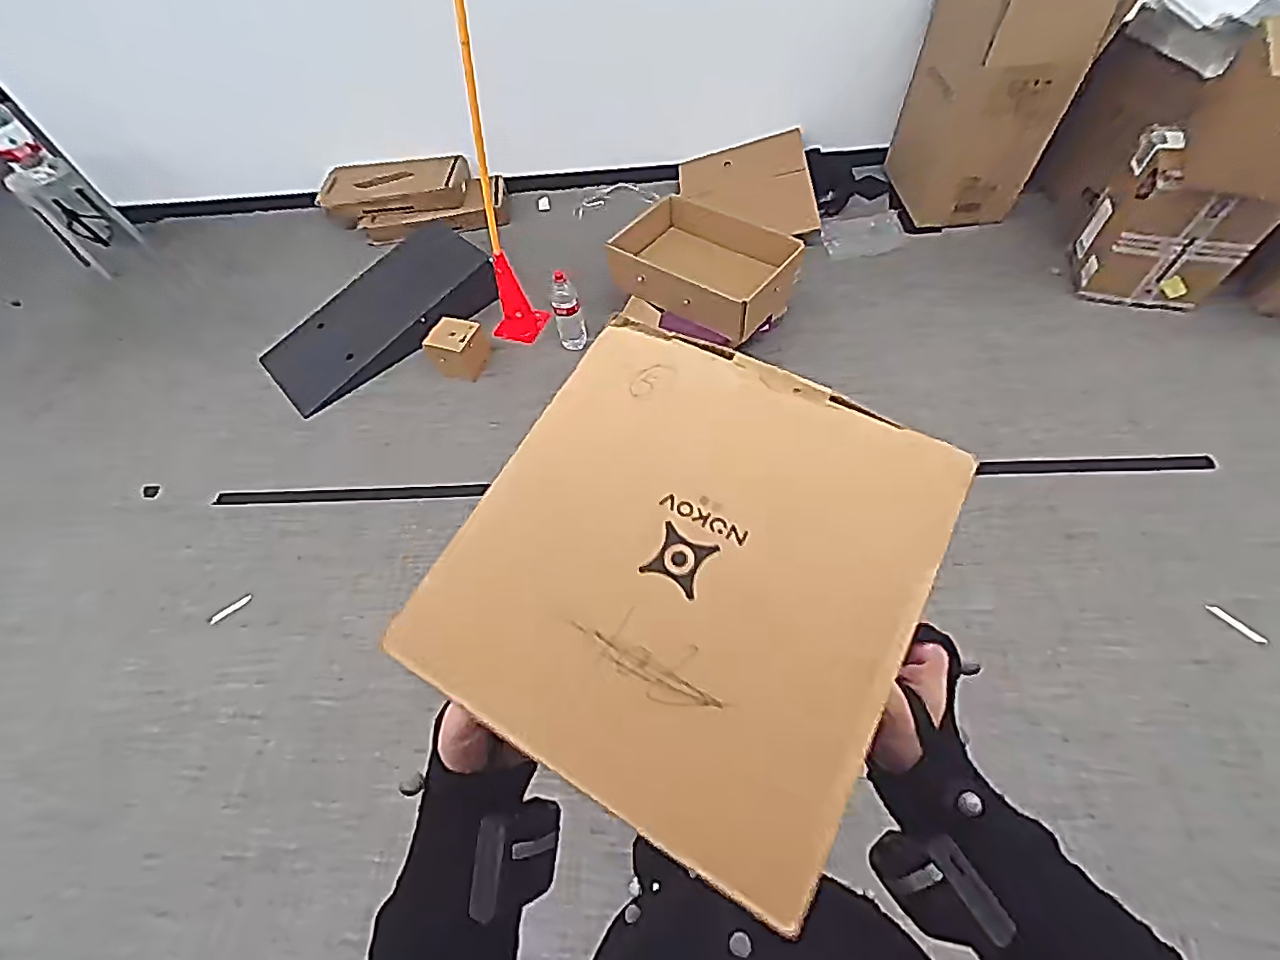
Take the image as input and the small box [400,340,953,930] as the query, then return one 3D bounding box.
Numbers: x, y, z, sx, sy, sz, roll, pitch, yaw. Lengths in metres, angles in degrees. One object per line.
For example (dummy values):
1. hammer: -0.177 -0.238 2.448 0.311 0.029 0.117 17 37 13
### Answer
1. small box: 0.023 0.067 0.286 0.168 0.176 0.179 25 72 16
